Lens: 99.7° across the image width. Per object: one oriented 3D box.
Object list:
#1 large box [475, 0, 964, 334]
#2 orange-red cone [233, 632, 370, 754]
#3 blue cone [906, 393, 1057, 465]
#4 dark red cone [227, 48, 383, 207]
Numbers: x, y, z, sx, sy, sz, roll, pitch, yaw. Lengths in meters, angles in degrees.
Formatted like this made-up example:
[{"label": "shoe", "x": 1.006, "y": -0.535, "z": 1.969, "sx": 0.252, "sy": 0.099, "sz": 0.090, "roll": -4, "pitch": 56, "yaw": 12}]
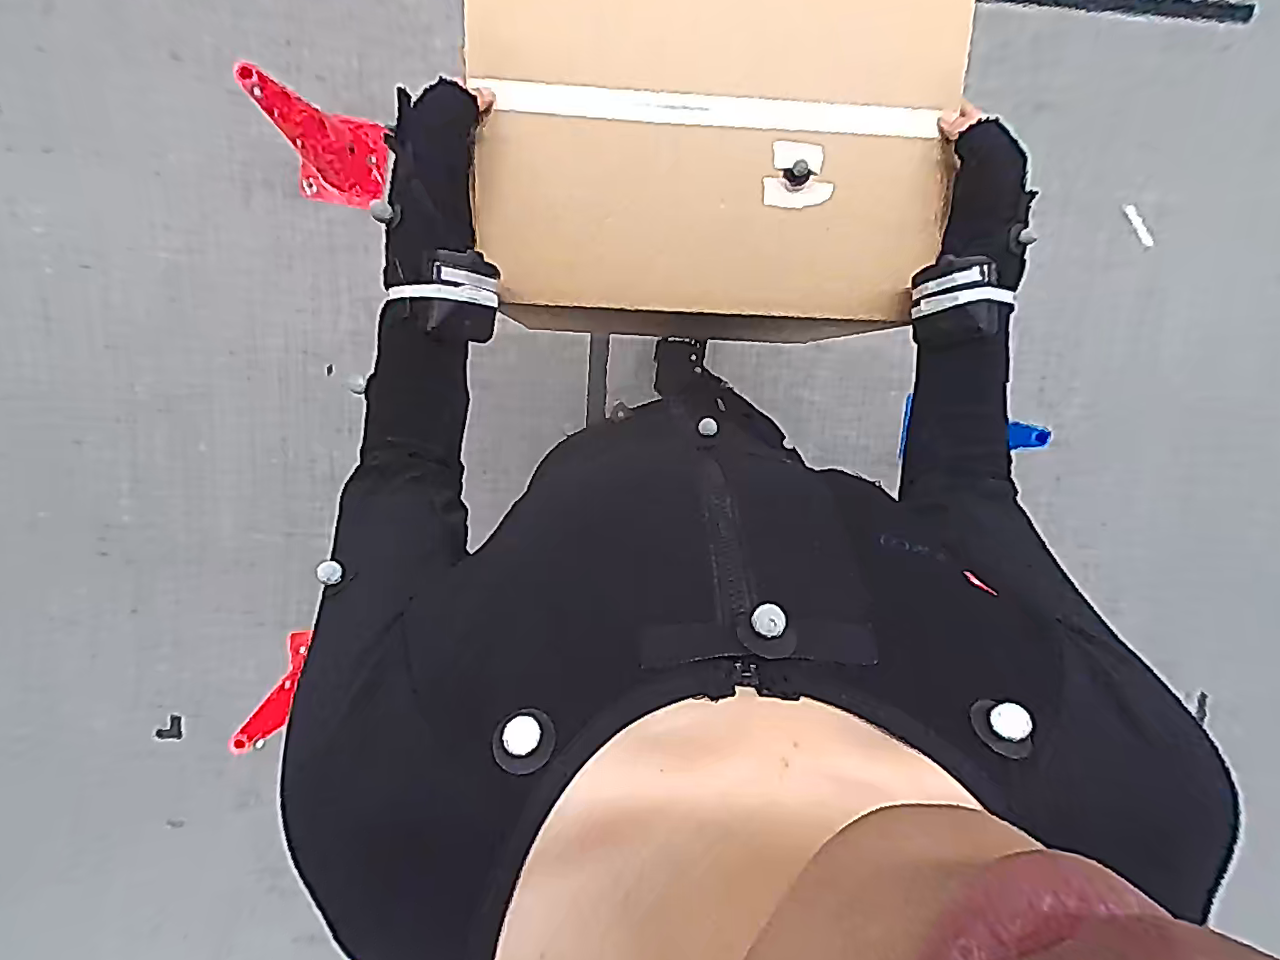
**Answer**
[{"label": "large box", "x": 0.055, "y": -0.336, "z": 0.593, "sx": 0.408, "sy": 0.320, "sz": 0.320, "roll": 1, "pitch": 101, "yaw": -5}, {"label": "orange-red cone", "x": -0.837, "y": 0.537, "z": 1.306, "sx": 0.198, "sy": 0.360, "sz": 0.199, "roll": 0, "pitch": 99, "yaw": -1}, {"label": "blue cone", "x": 0.829, "y": -0.117, "z": 1.304, "sx": 0.192, "sy": 0.380, "sz": 0.193, "roll": 5, "pitch": 97, "yaw": -4}, {"label": "dark red cone", "x": -0.709, "y": -0.745, "z": 1.124, "sx": 0.201, "sy": 0.394, "sz": 0.202, "roll": 8, "pitch": 97, "yaw": -4}]
